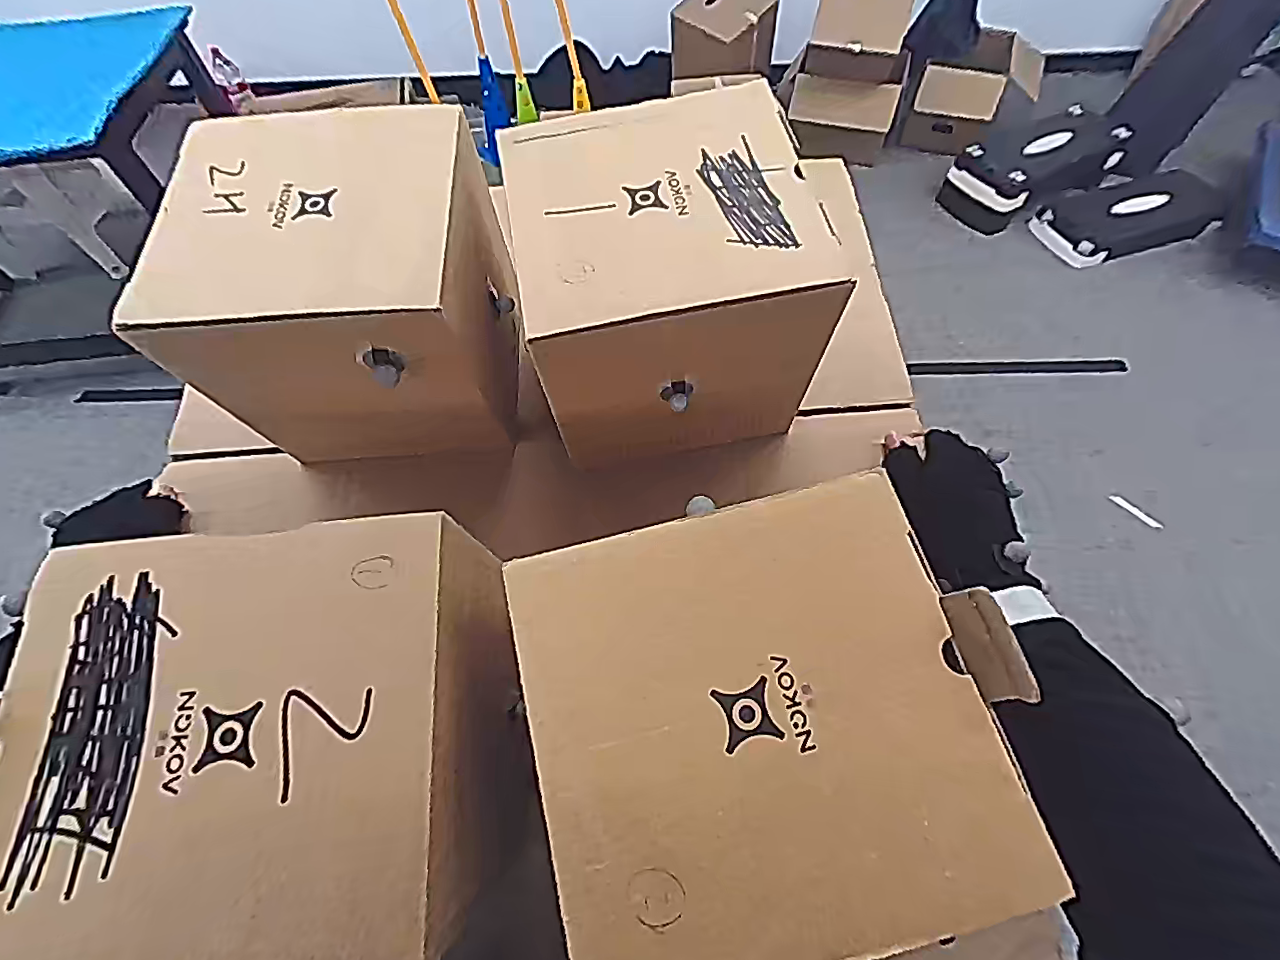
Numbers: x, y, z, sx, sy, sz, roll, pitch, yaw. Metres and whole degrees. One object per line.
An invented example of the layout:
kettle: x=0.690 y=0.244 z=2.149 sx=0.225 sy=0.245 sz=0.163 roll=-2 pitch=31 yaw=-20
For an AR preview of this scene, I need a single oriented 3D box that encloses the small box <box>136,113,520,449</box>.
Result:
small box: x=-0.193 y=-0.133 z=0.402 sx=0.179 sy=0.176 sz=0.168 roll=-3 pitch=66 yaw=1
